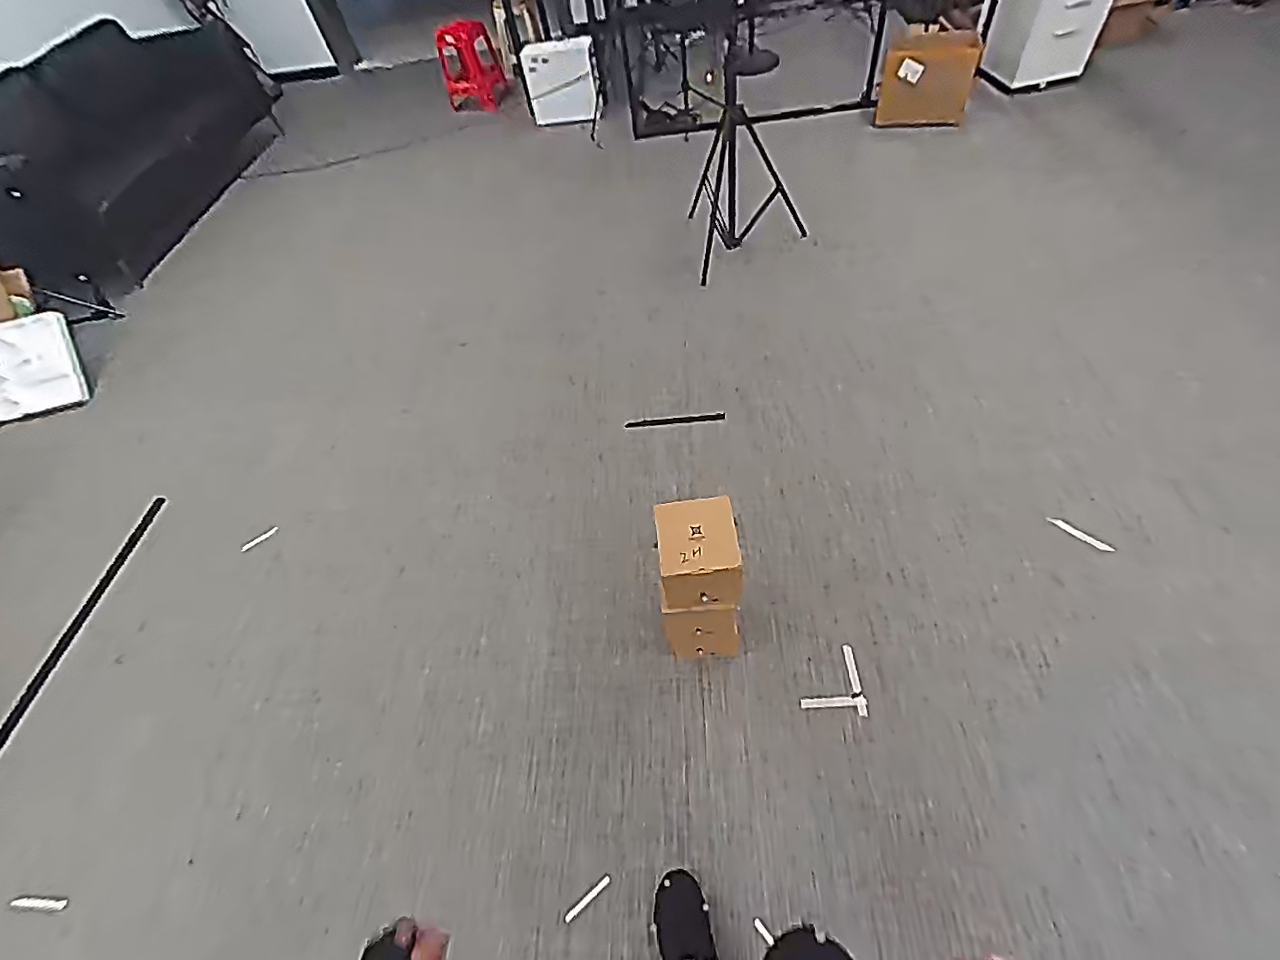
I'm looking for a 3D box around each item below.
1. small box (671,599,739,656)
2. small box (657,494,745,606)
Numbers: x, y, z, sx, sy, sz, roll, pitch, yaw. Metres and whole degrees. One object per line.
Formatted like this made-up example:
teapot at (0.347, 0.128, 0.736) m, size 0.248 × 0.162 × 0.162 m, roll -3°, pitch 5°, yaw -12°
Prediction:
small box at (0.170, 0.355, 1.444) m, size 0.168 × 0.176 × 0.179 m, roll -5°, pitch 53°, yaw 6°
small box at (0.131, 0.156, 1.185) m, size 0.168 × 0.176 × 0.179 m, roll -8°, pitch 54°, yaw 4°
